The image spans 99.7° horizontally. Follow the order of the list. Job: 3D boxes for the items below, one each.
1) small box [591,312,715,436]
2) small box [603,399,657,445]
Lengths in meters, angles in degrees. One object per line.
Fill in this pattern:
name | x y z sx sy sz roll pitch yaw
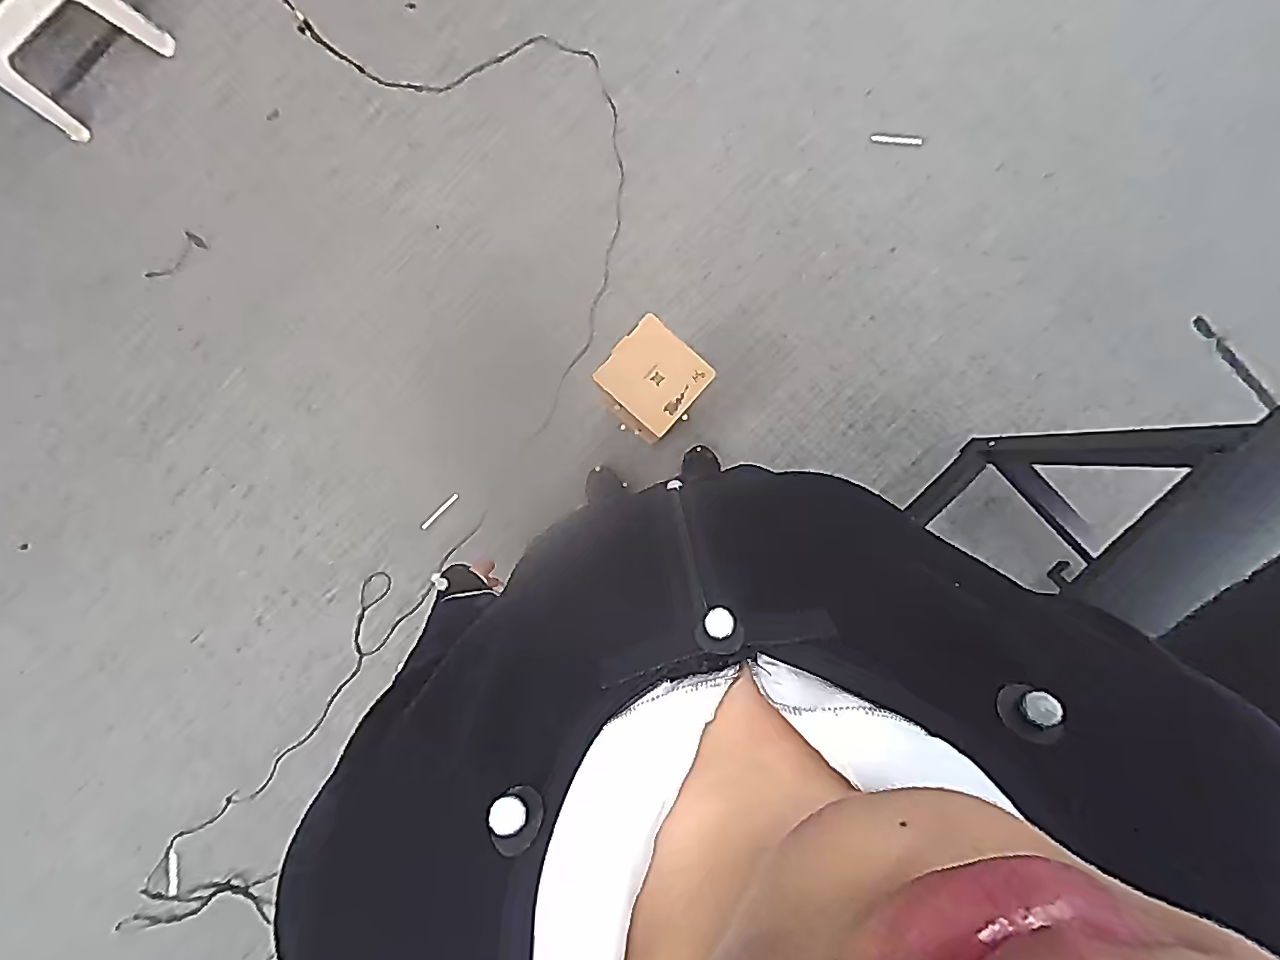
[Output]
small box | 0.024 -0.200 1.087 0.179 0.176 0.168 42 92 -1
small box | 0.021 -0.208 1.413 0.168 0.176 0.179 42 93 -1
